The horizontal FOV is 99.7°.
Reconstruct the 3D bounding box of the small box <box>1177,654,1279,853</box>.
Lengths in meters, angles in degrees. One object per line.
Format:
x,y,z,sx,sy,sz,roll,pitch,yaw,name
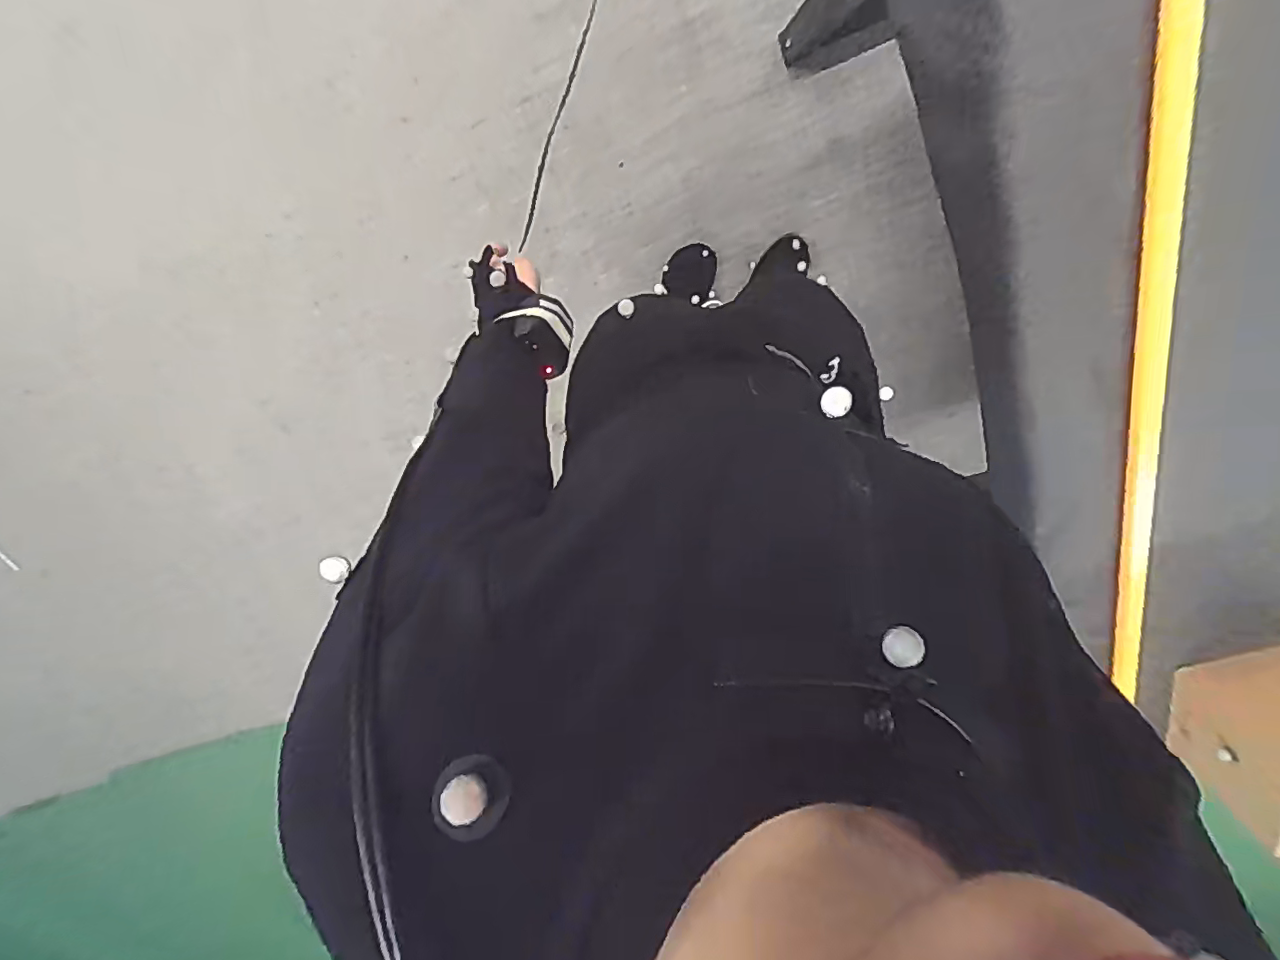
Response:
0.851,0.345,0.692,0.179,0.176,0.168,-17,114,9,small box
